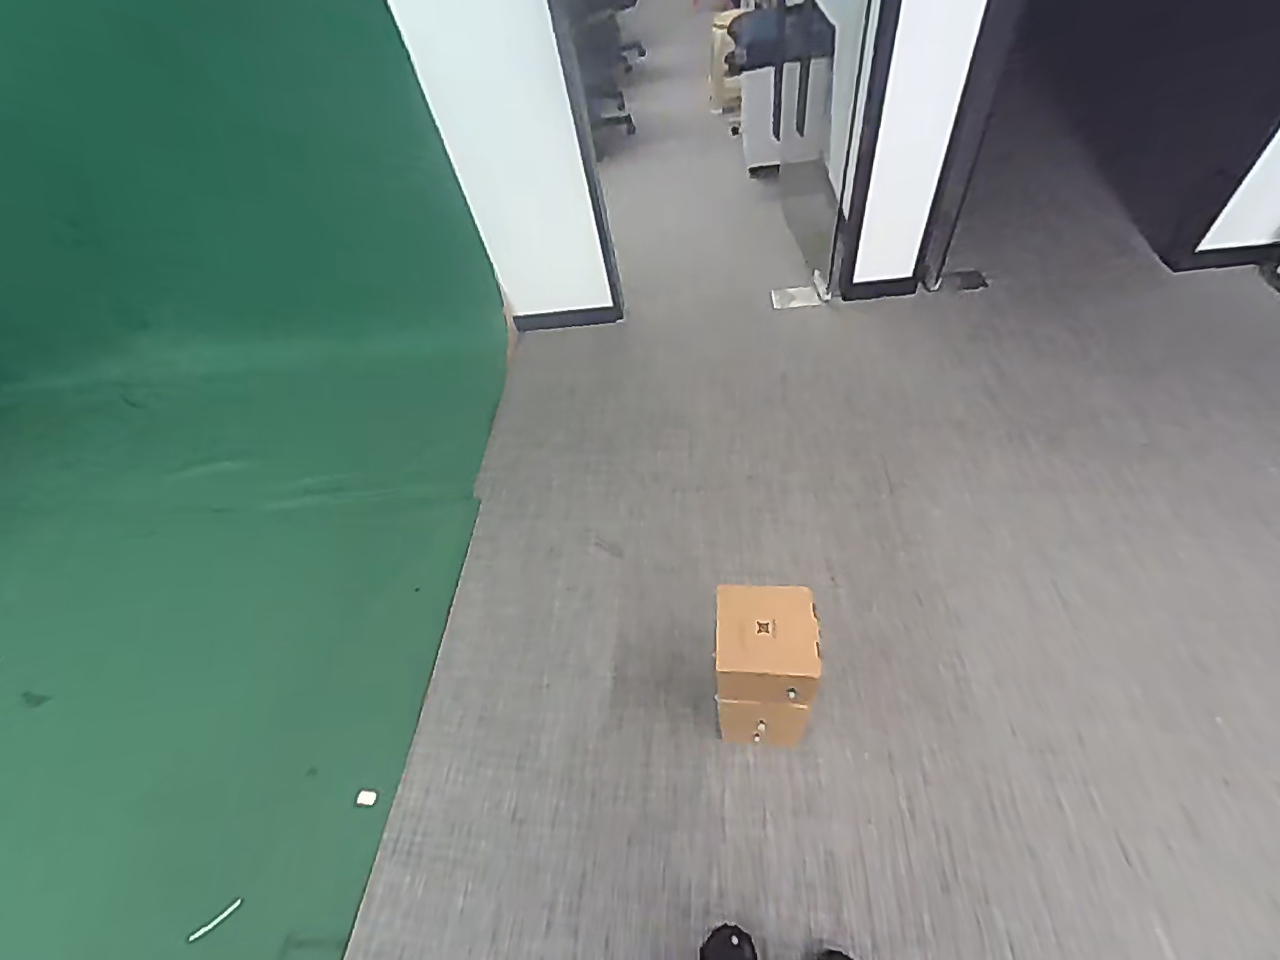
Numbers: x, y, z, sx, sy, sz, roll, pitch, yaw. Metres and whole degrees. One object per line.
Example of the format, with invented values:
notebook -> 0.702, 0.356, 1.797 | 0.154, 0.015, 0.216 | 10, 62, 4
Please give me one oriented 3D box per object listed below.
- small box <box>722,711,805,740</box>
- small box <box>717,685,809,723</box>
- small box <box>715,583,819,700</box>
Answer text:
small box -> 0.282, 0.509, 1.278 | 0.179, 0.176, 0.168 | -3, 53, 8
small box -> 0.255, 0.409, 1.152 | 0.179, 0.176, 0.168 | 0, 53, 11
small box -> 0.234, 0.308, 1.026 | 0.179, 0.176, 0.168 | -2, 52, 11
